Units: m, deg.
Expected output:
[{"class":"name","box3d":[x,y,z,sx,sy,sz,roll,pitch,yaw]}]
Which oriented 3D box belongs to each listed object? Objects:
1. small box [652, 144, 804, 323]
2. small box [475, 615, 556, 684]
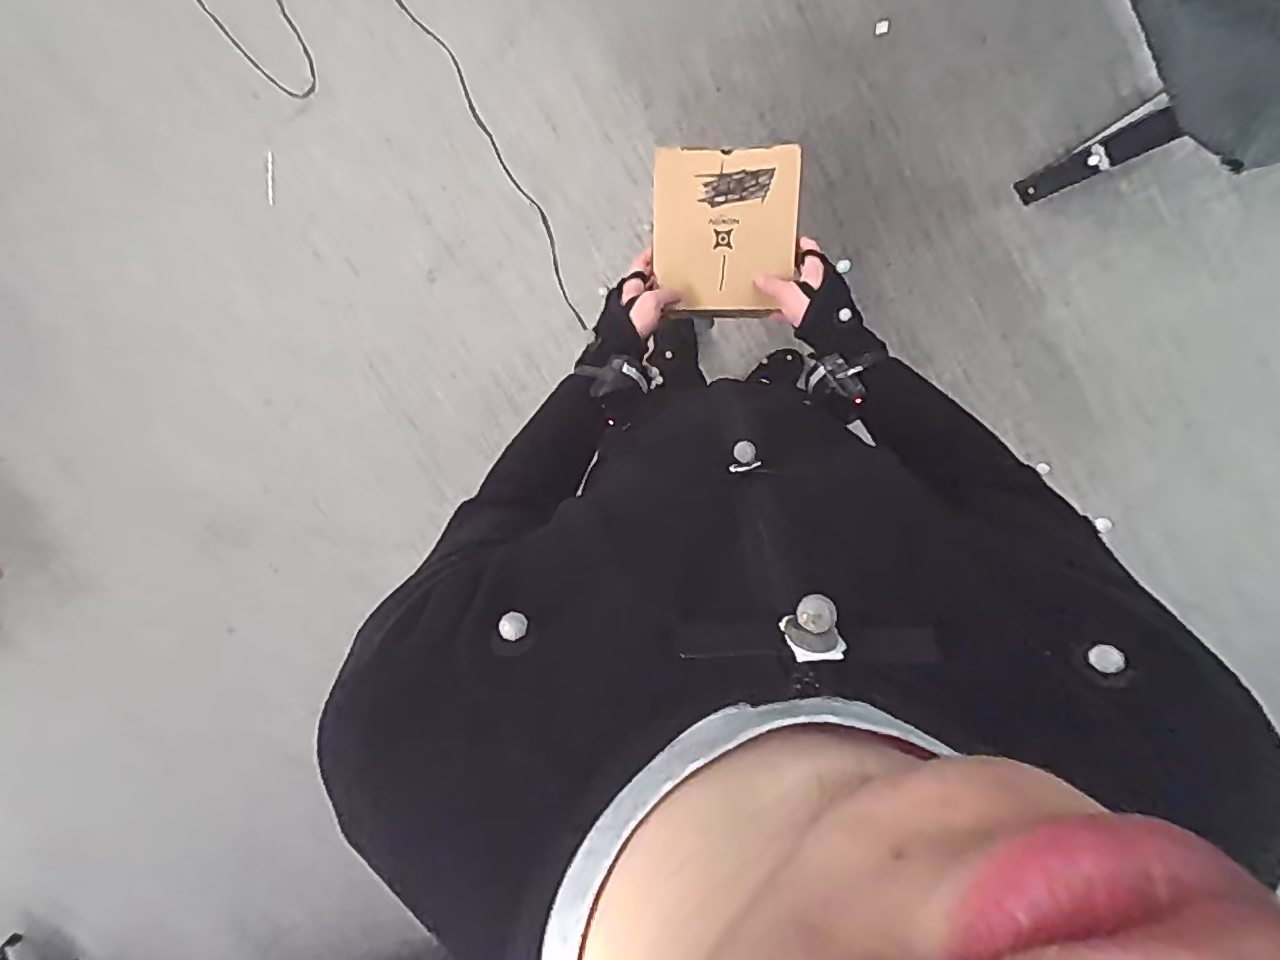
[{"class":"small box","box3d":[0.099,-0.296,0.683,0.168,0.176,0.179,1,103,3]},{"class":"small box","box3d":[-0.390,0.567,1.743,0.179,0.176,0.168,-32,97,17]}]
